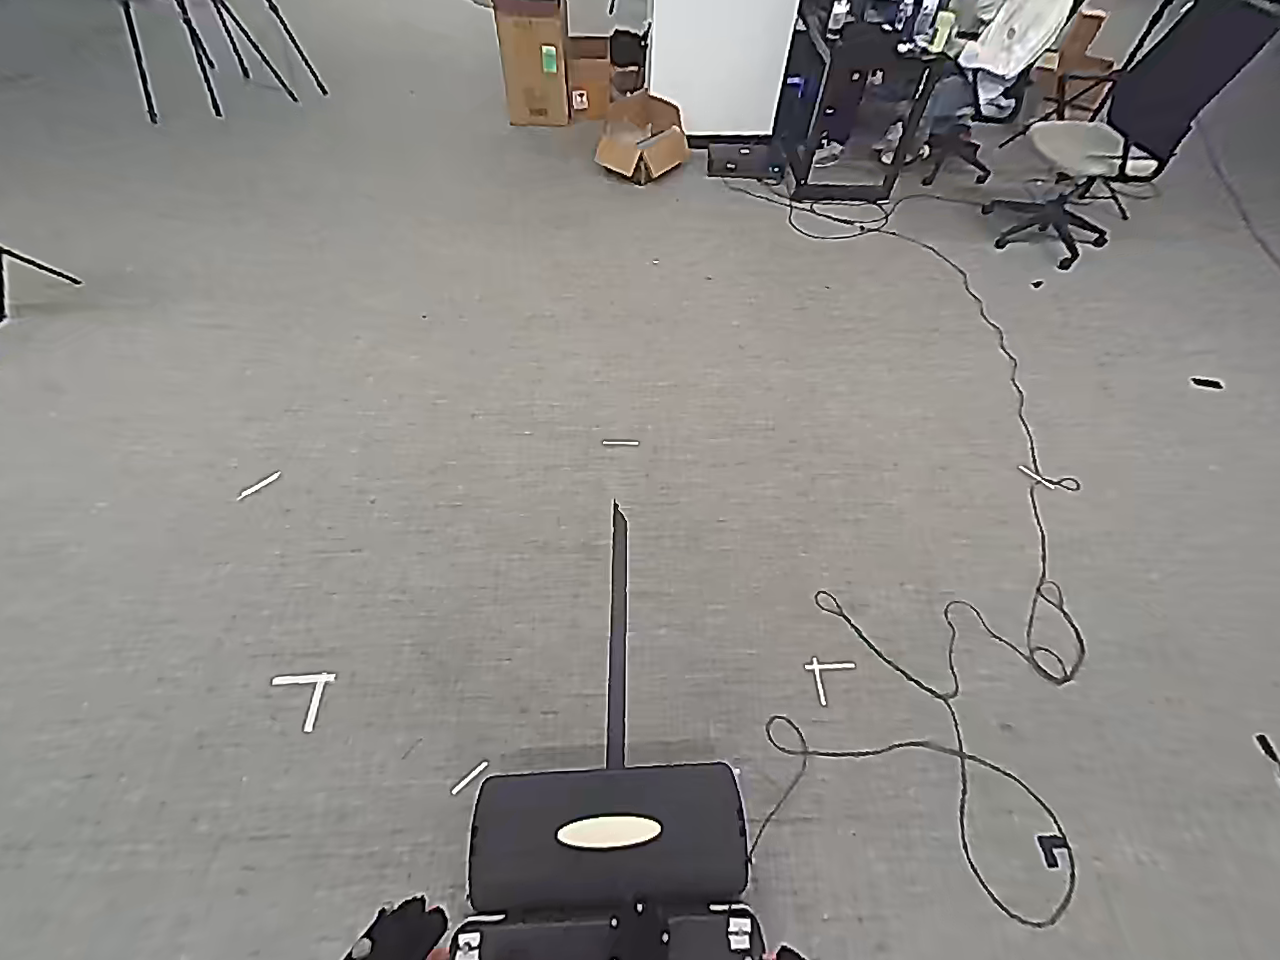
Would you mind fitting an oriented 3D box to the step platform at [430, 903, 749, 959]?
[{"bbox_3d":[-0.103,1.085,1.132,0.684,0.204,0.286,-2,54,-2],"label":"step platform"}]
